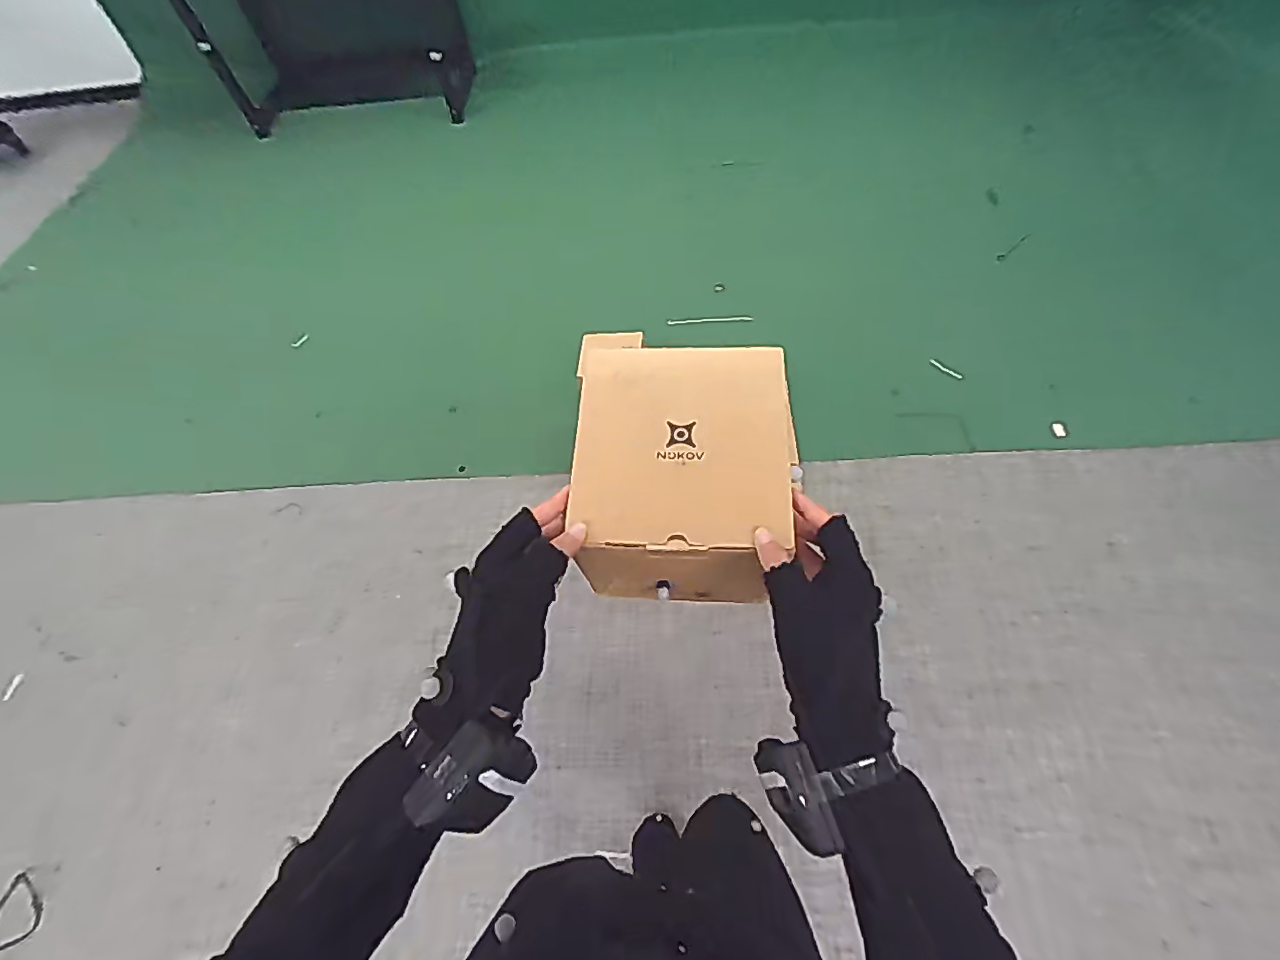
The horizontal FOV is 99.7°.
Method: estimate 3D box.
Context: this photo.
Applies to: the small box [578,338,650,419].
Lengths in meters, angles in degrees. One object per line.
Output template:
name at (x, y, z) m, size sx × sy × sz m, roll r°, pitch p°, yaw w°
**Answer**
small box at (-0.067, -0.289, 1.566) m, size 0.179 × 0.176 × 0.168 m, roll 0°, pitch 58°, yaw 8°
